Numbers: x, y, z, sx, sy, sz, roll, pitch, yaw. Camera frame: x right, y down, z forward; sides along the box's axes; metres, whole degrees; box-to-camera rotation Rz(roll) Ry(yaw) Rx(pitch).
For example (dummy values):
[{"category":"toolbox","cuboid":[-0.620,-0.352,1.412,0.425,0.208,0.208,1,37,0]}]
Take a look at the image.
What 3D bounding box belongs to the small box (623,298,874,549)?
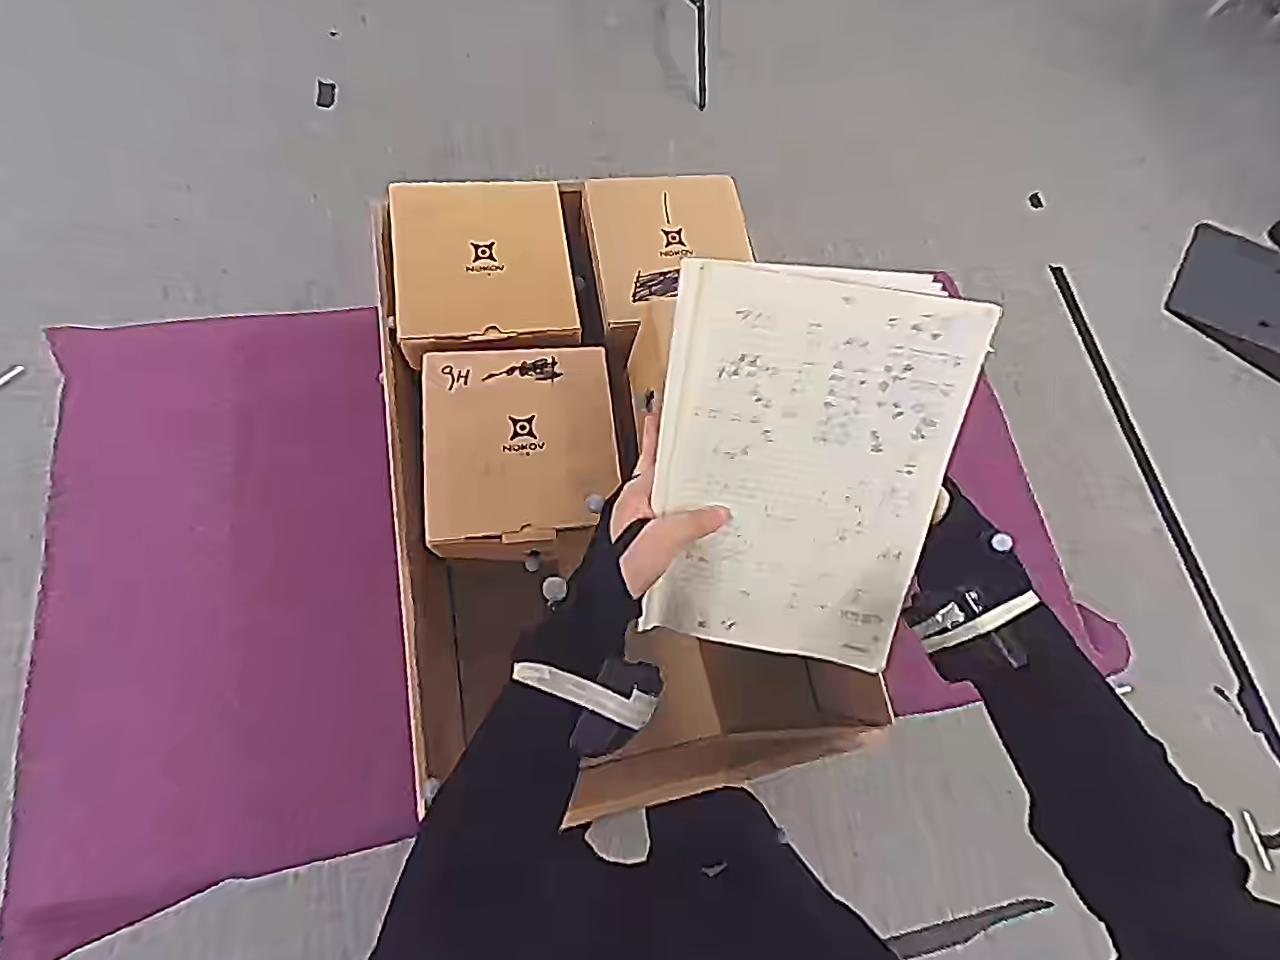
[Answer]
[{"category":"small box","cuboid":[0.081,-0.045,0.511,0.168,0.176,0.179,-3,68,-11]}]
